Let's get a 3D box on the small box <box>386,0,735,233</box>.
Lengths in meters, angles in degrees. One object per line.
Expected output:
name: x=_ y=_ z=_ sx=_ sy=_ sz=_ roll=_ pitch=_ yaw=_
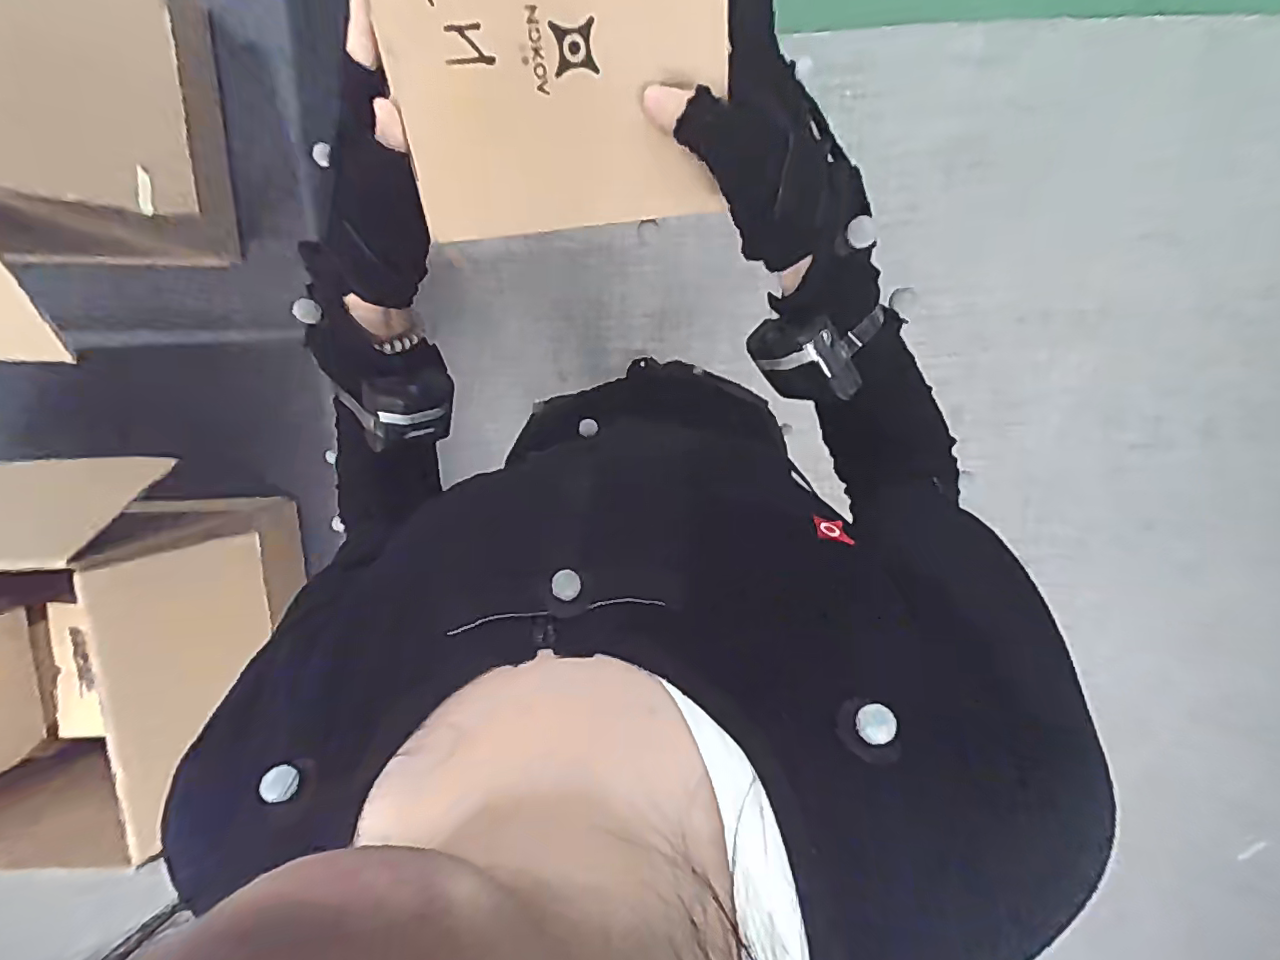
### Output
small box: x=-0.045 y=-0.262 z=0.347 sx=0.179 sy=0.176 sz=0.168 roll=-6 pitch=120 yaw=-3
